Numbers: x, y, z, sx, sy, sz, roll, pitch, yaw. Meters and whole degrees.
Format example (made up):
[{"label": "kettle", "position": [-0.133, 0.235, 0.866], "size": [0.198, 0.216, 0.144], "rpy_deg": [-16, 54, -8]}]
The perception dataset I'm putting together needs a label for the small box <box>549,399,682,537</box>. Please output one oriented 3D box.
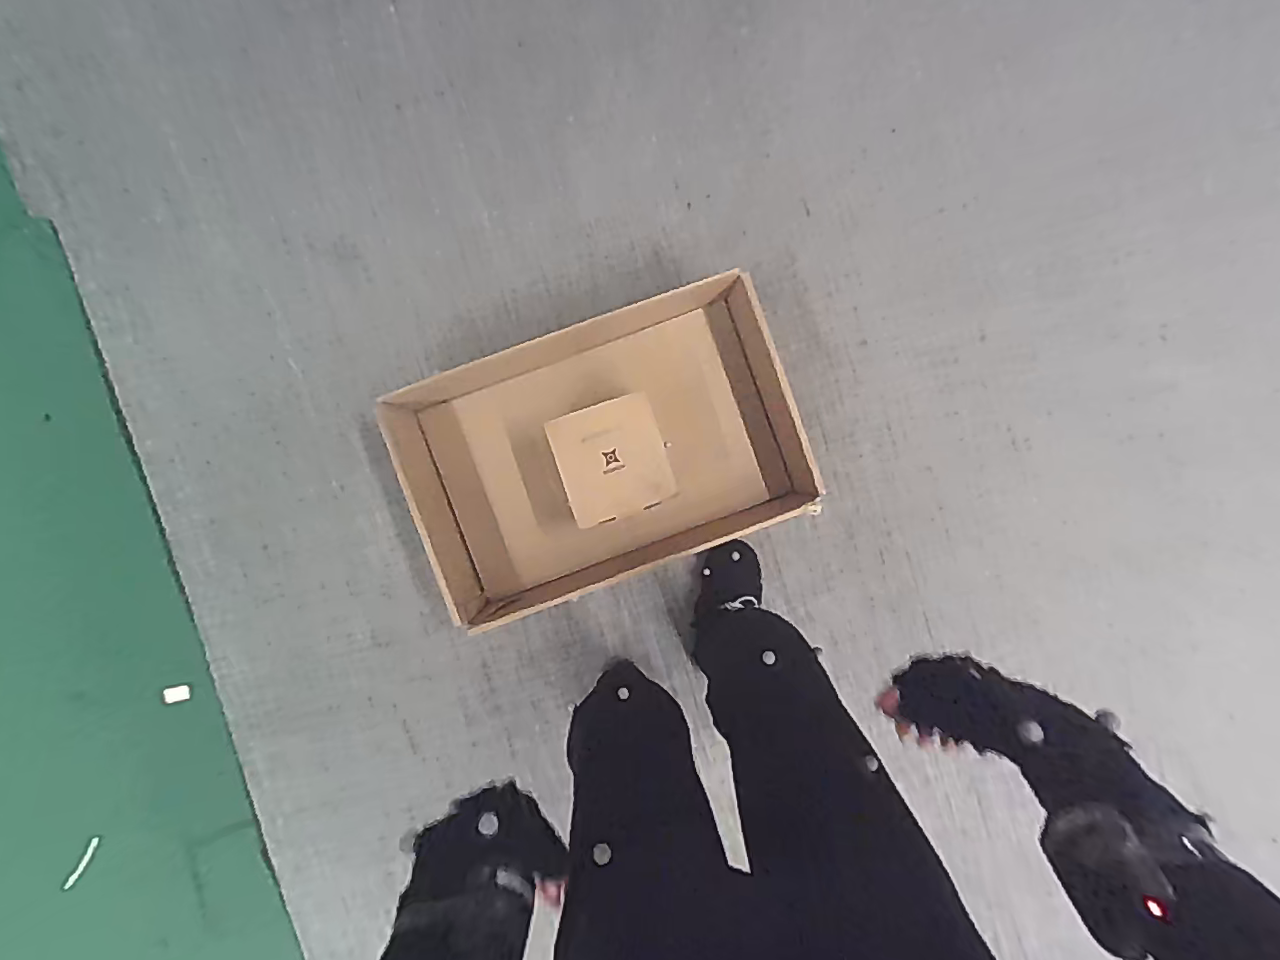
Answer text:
[{"label": "small box", "position": [-0.036, -0.019, 0.897], "size": [0.168, 0.176, 0.179], "rpy_deg": [-18, 90, 0]}]
